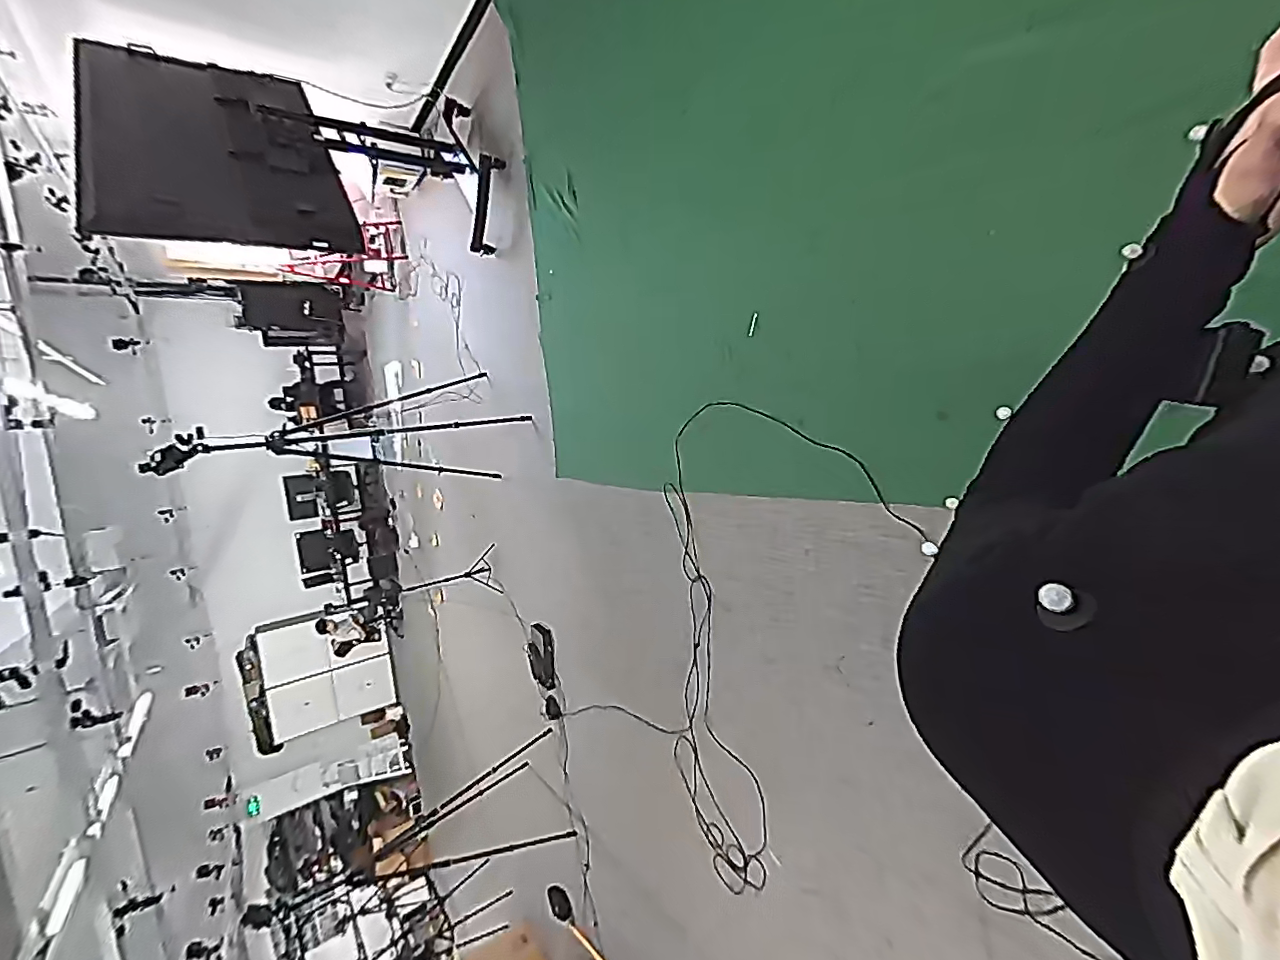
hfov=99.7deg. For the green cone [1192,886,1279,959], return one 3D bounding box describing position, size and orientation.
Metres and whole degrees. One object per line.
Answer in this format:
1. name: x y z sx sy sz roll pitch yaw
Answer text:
1. green cone: 1.229 1.062 1.096 0.202 0.368 0.200 5 102 54
